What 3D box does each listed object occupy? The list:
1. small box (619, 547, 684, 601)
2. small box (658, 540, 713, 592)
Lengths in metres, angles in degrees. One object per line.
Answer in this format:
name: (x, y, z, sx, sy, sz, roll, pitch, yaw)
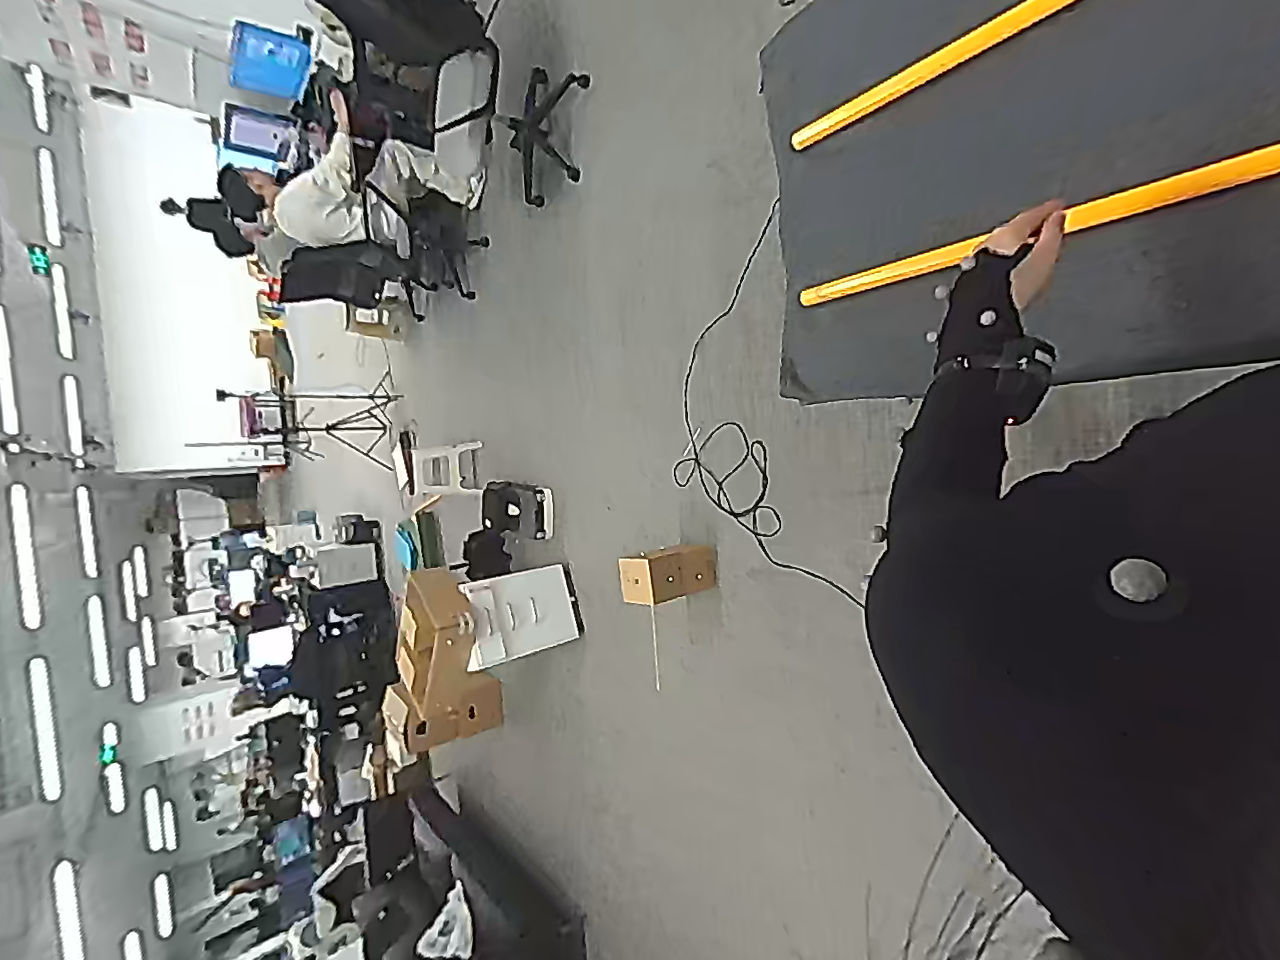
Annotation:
small box: (0.047, 0.340, 1.992, 0.179, 0.176, 0.168, -8, 89, 51)
small box: (0.168, 0.330, 2.104, 0.179, 0.176, 0.168, -6, 91, 50)
